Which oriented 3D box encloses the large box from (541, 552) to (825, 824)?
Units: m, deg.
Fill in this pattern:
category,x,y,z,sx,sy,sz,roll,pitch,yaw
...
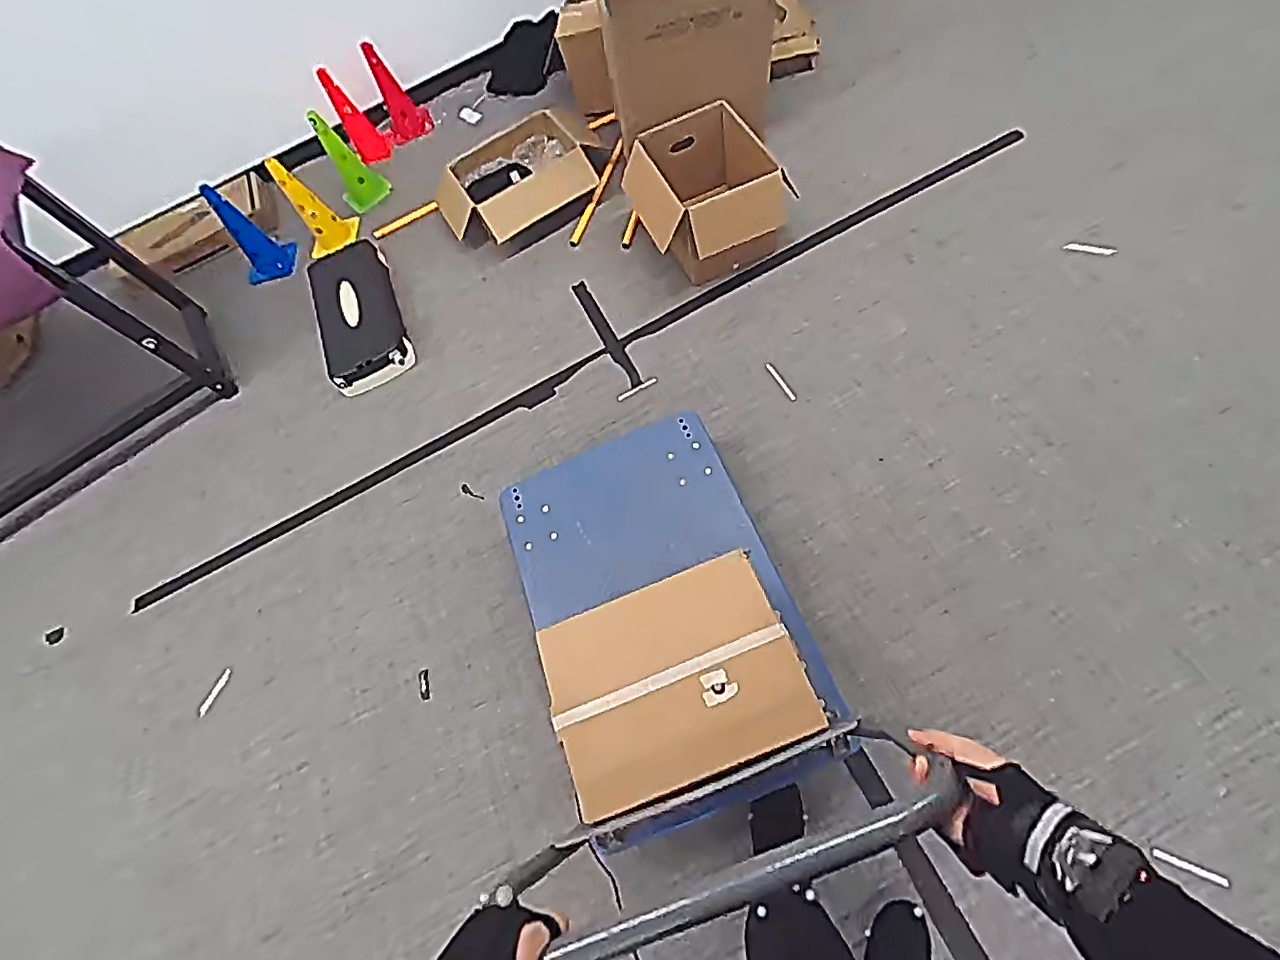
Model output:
category,x,y,z,sx,sy,sz,roll,pitch,yaw
large box,0.079,0.394,1.029,0.408,0.320,0.320,-22,63,-1
